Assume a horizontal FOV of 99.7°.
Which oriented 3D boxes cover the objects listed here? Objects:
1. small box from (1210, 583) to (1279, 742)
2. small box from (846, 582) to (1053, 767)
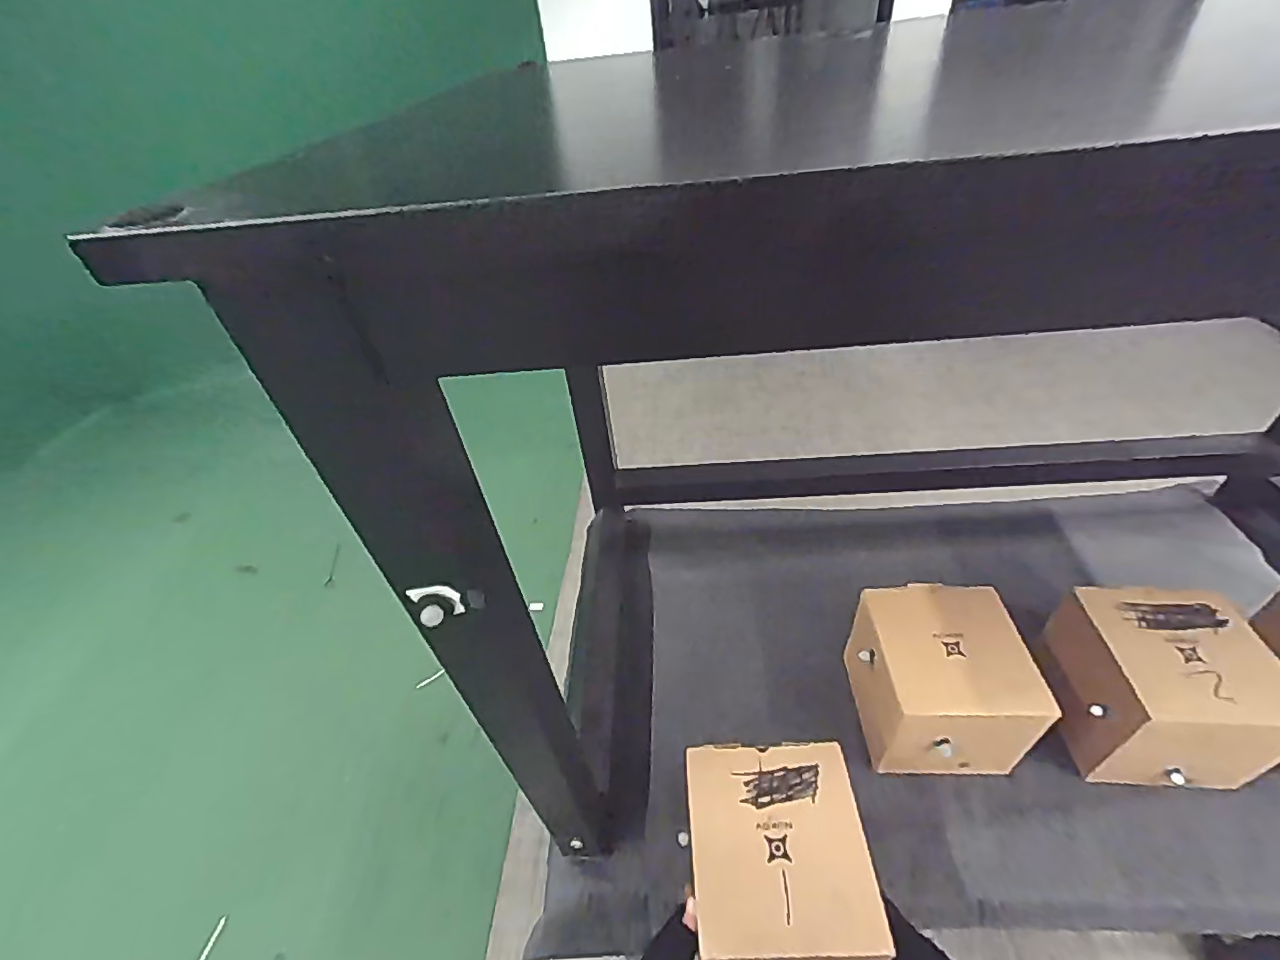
[{"bbox_3d":[0.871,0.239,0.646,0.168,0.176,0.179,-3,40,5],"label":"small box"},{"bbox_3d":[0.382,0.257,0.708,0.168,0.176,0.179,-3,41,6],"label":"small box"}]
